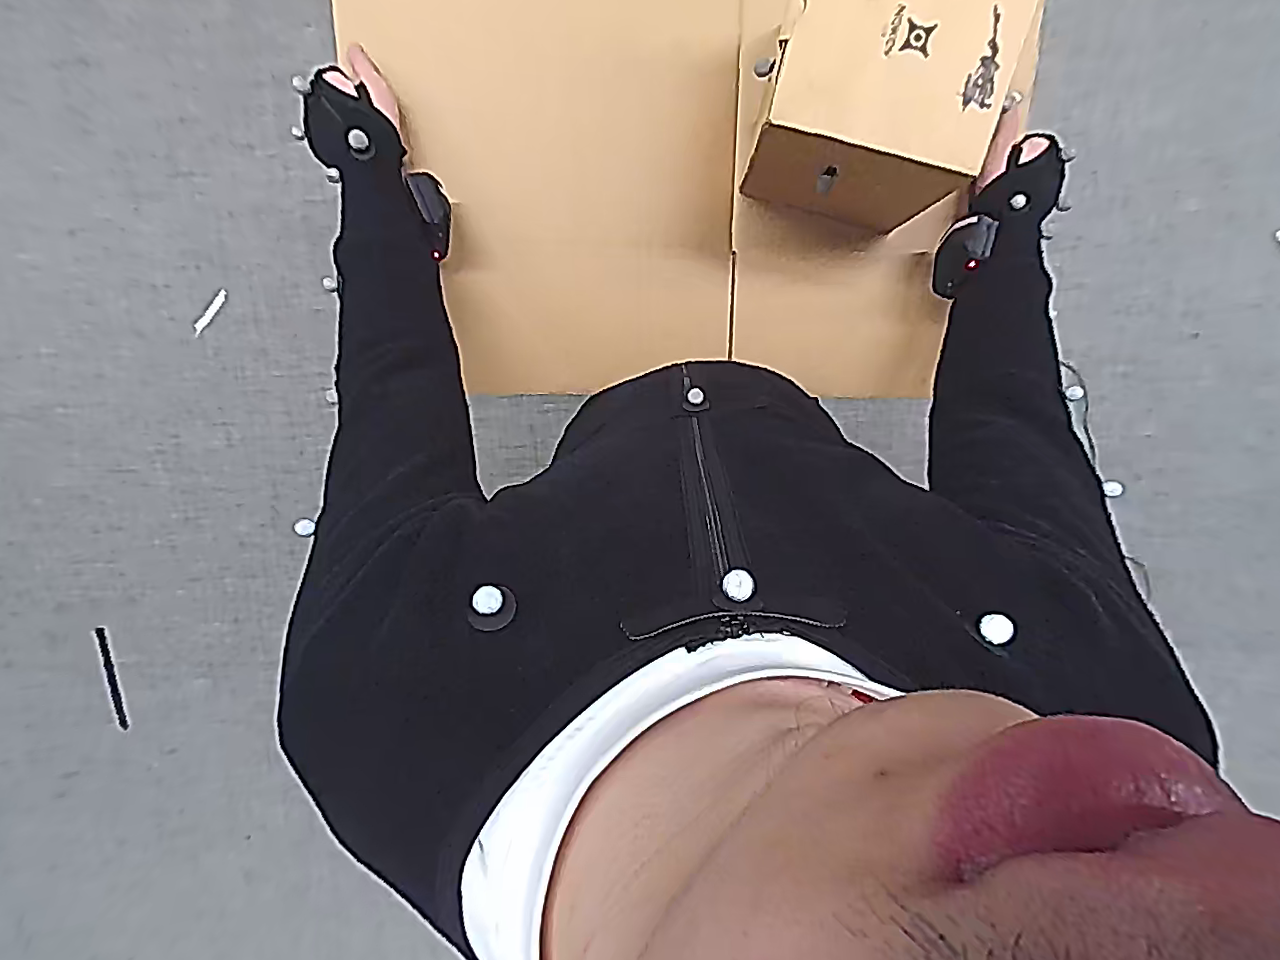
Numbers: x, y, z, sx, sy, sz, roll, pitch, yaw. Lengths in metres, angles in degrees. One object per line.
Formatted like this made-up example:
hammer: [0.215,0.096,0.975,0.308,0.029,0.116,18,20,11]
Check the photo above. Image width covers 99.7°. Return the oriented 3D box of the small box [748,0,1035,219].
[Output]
small box: [0.209,-0.360,0.493,0.179,0.176,0.168,15,102,1]
